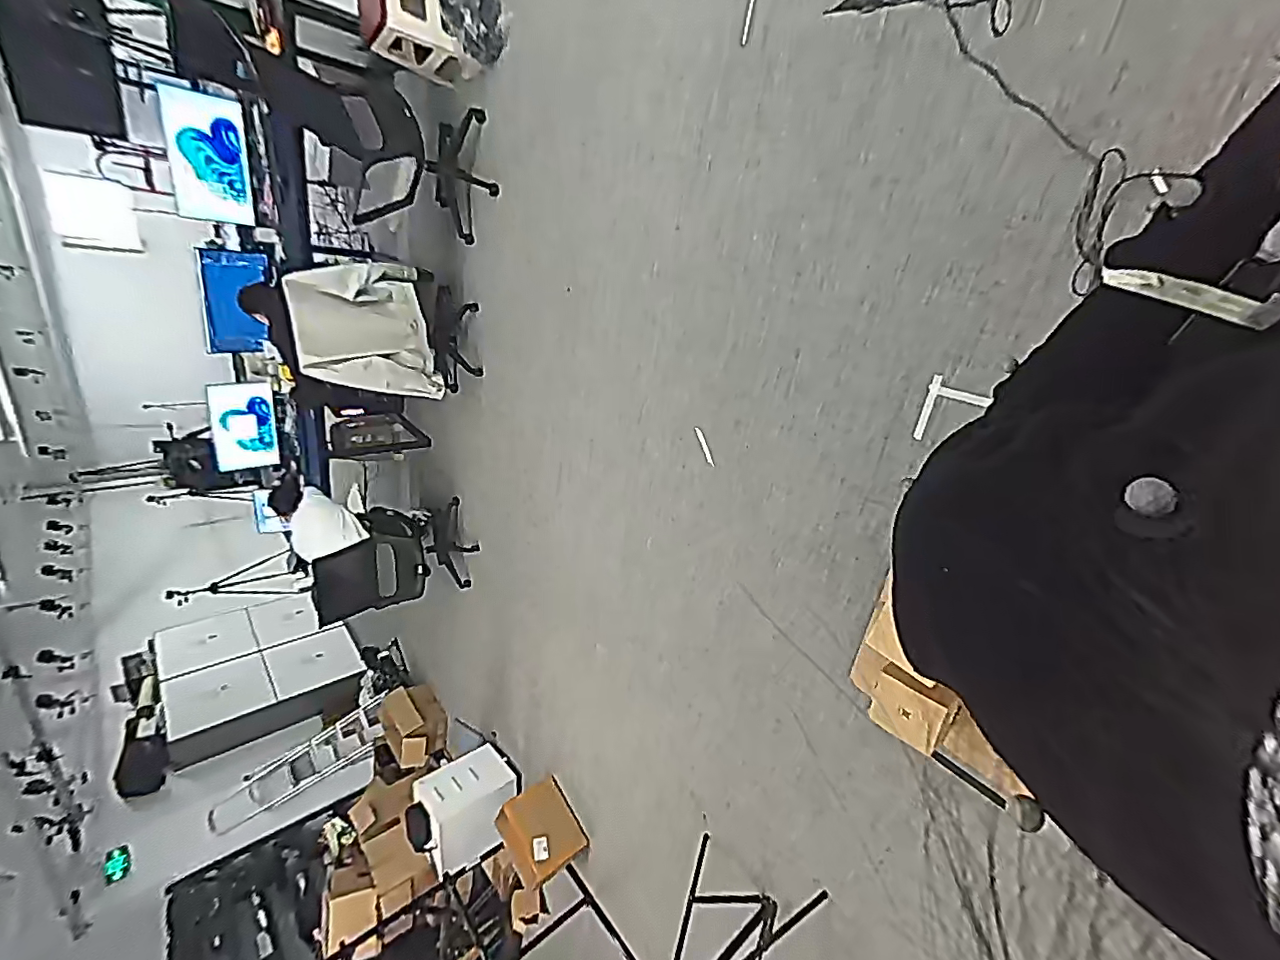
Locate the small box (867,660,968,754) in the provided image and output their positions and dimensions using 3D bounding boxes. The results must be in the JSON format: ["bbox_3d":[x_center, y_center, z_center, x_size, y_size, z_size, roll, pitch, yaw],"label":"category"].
[{"bbox_3d":[0.760,0.596,1.481,0.179,0.176,0.168,25,119,42],"label":"small box"}]

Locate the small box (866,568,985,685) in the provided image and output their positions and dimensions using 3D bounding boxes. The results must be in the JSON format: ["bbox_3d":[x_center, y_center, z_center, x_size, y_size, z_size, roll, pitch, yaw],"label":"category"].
[{"bbox_3d":[0.670,0.334,1.265,0.168,0.176,0.179,35,123,38],"label":"small box"}]
